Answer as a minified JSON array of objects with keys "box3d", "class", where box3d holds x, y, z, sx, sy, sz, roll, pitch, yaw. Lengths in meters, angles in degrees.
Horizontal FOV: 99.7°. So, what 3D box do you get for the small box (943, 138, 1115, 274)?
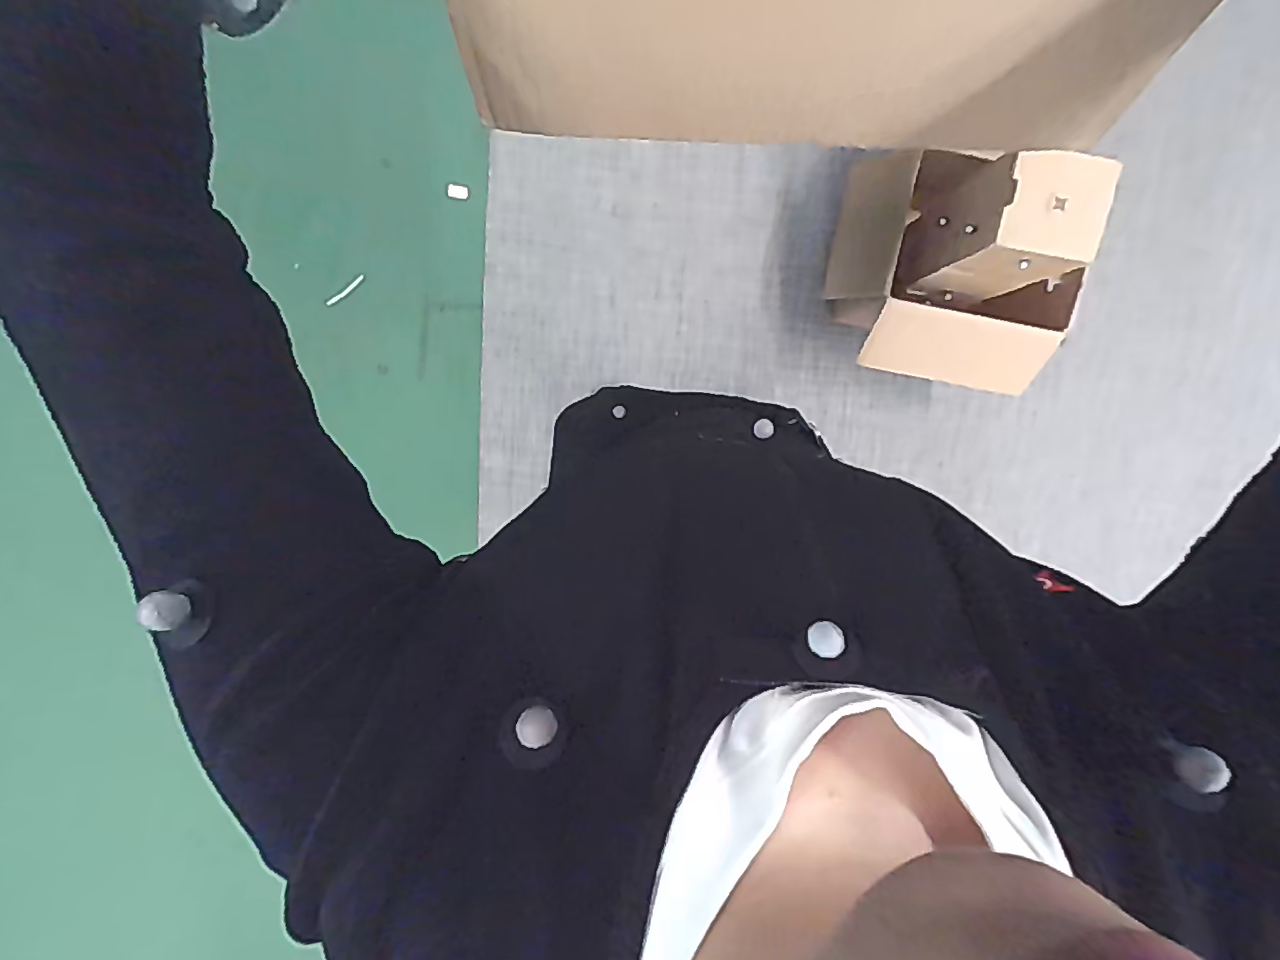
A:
[{"box3d":[0.694,-0.488,0.989,0.179,0.176,0.168,9,99,-2],"class":"small box"}]
